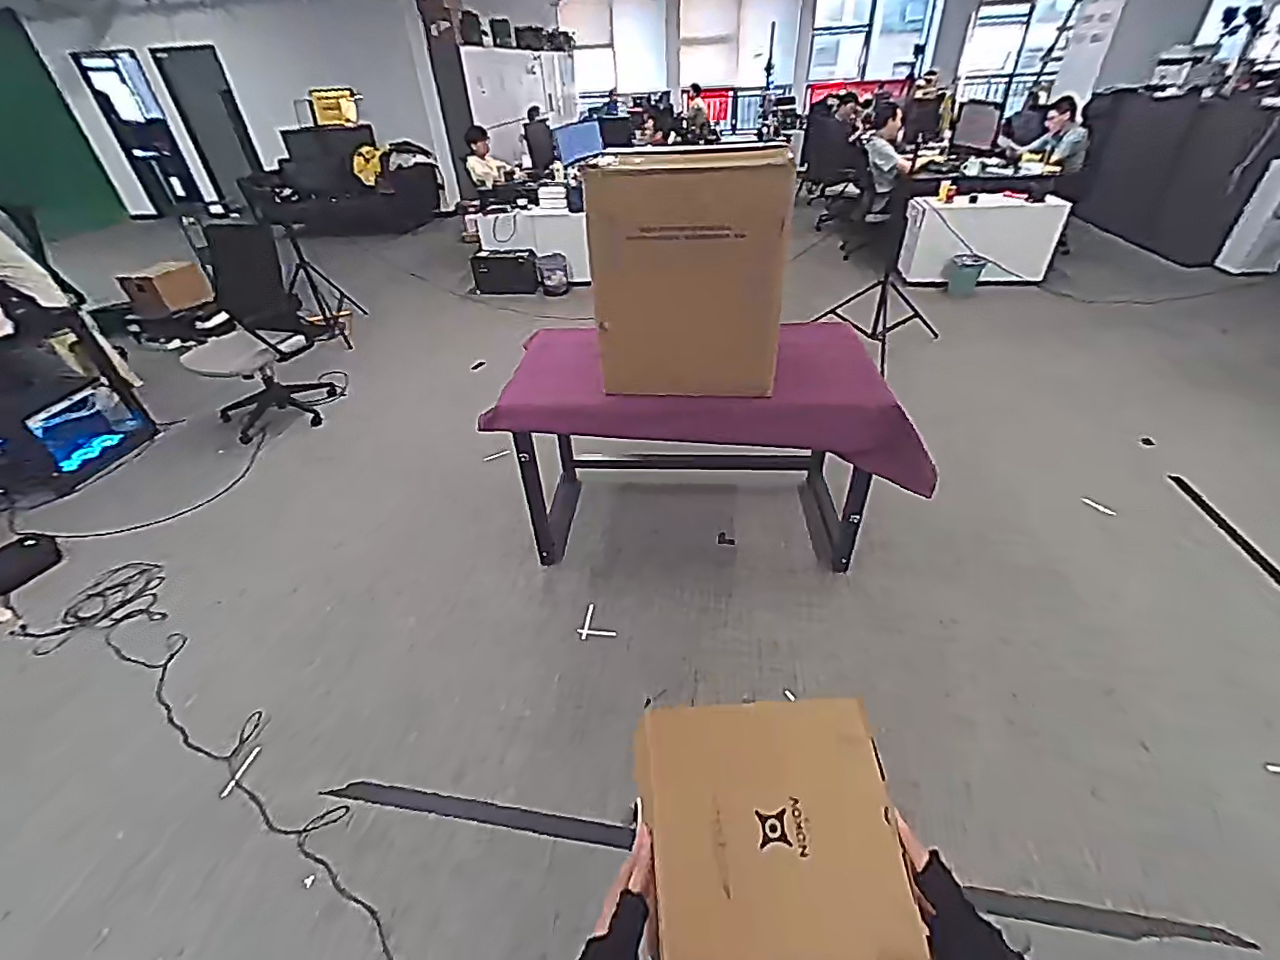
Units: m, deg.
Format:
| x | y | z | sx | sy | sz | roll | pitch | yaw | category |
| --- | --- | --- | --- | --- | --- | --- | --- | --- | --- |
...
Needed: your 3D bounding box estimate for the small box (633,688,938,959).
| x | y | z | sx | sy | sz | roll | pitch | yaw | category |
| --- | --- | --- | --- | --- | --- | --- | --- | --- | --- |
| 0.092 | 0.276 | 0.441 | 0.179 | 0.176 | 0.168 | -3 | 58 | -6 | small box |
